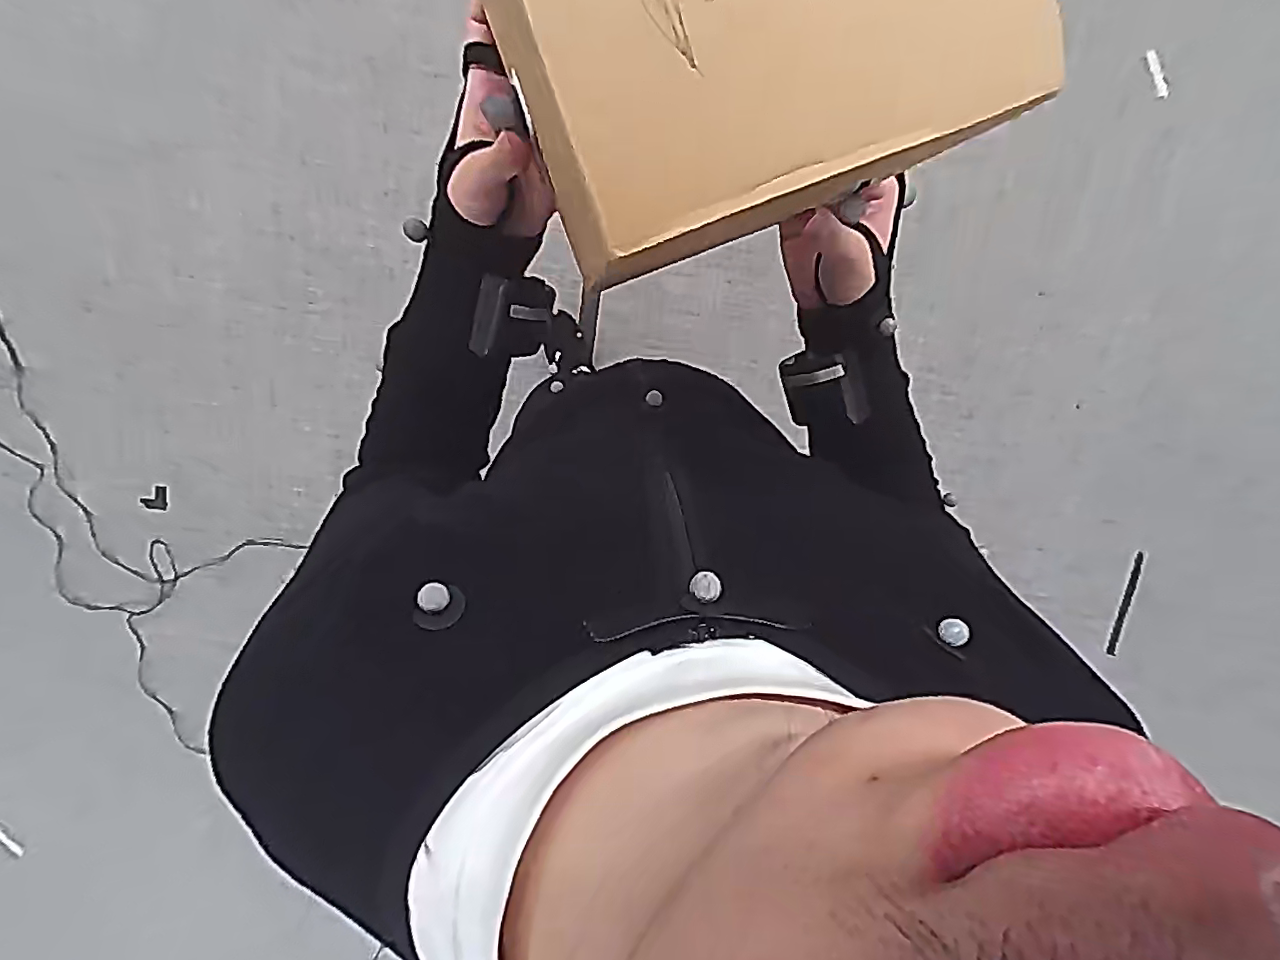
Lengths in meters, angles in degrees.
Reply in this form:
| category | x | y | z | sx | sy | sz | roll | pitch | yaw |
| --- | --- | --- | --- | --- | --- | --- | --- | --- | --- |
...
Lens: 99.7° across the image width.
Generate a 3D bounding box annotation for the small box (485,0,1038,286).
| category | x | y | z | sx | sy | sz | roll | pitch | yaw |
| --- | --- | --- | --- | --- | --- | --- | --- | --- | --- |
| small box | 0.030 | -0.205 | 0.252 | 0.179 | 0.176 | 0.168 | -22 | 106 | -1 |
